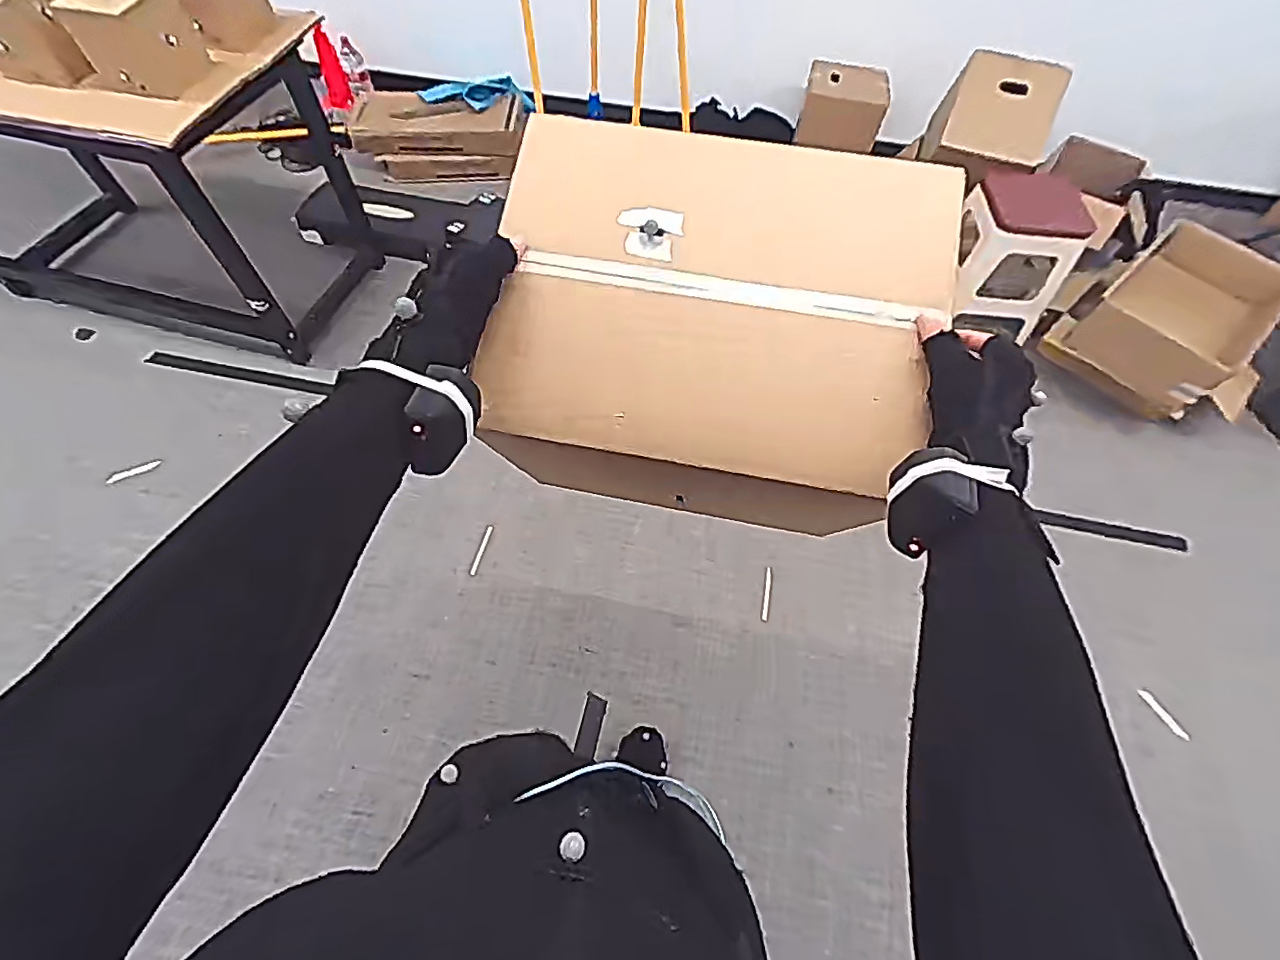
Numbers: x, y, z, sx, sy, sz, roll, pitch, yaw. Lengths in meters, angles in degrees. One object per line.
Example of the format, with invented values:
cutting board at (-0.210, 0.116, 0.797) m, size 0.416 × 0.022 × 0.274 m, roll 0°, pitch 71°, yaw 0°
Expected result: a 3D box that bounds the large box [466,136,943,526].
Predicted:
large box at (0.073, -0.138, 0.642) m, size 0.408 × 0.320 × 0.320 m, roll 10°, pitch 79°, yaw 5°
